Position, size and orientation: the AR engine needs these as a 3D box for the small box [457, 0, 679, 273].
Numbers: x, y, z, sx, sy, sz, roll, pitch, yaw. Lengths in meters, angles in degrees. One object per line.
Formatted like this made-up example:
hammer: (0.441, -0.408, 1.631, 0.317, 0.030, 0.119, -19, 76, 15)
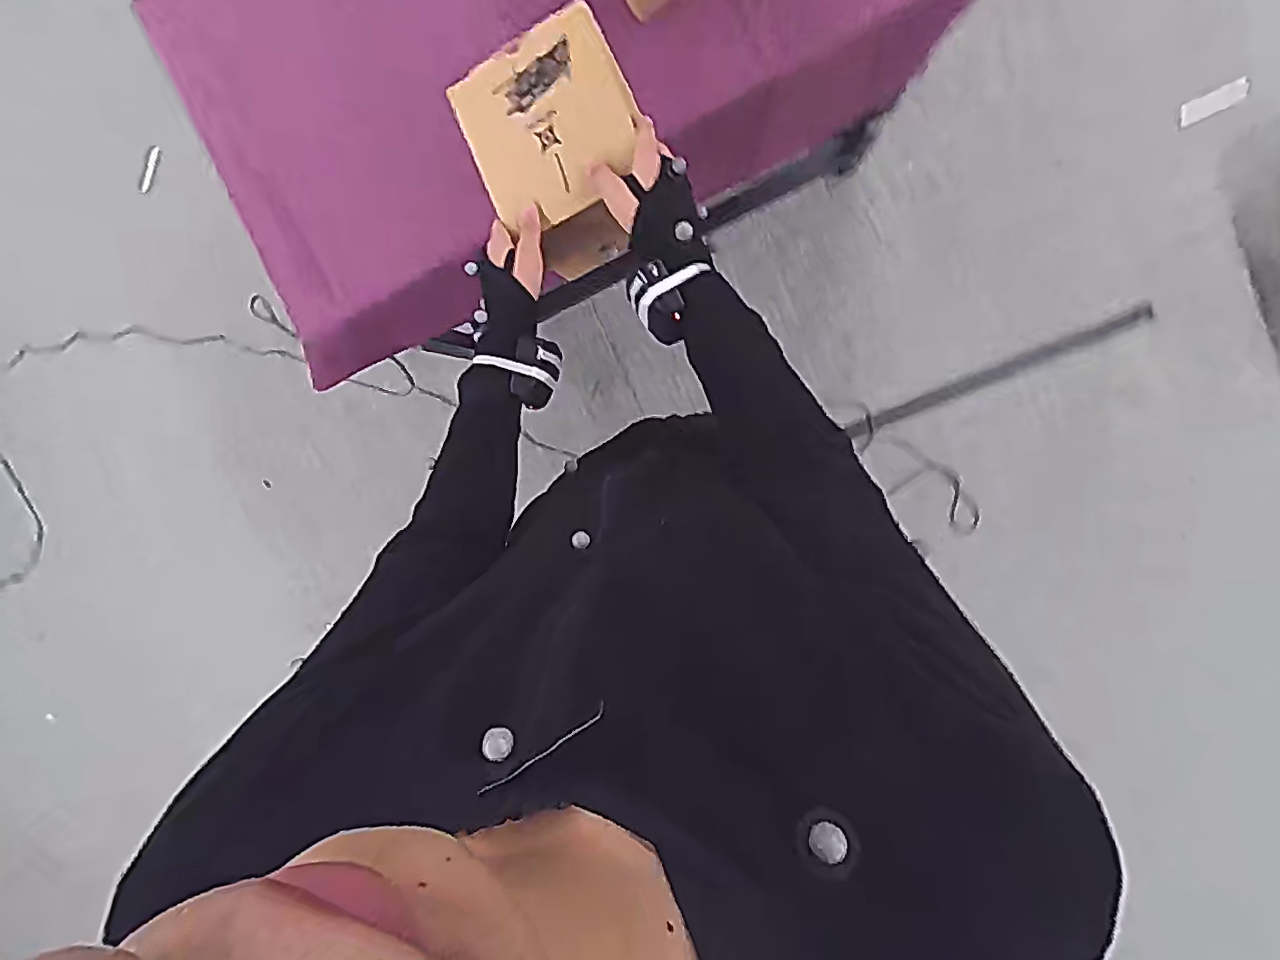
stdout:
small box: (-0.070, -0.368, 0.621, 0.168, 0.176, 0.179, -21, 93, 17)
